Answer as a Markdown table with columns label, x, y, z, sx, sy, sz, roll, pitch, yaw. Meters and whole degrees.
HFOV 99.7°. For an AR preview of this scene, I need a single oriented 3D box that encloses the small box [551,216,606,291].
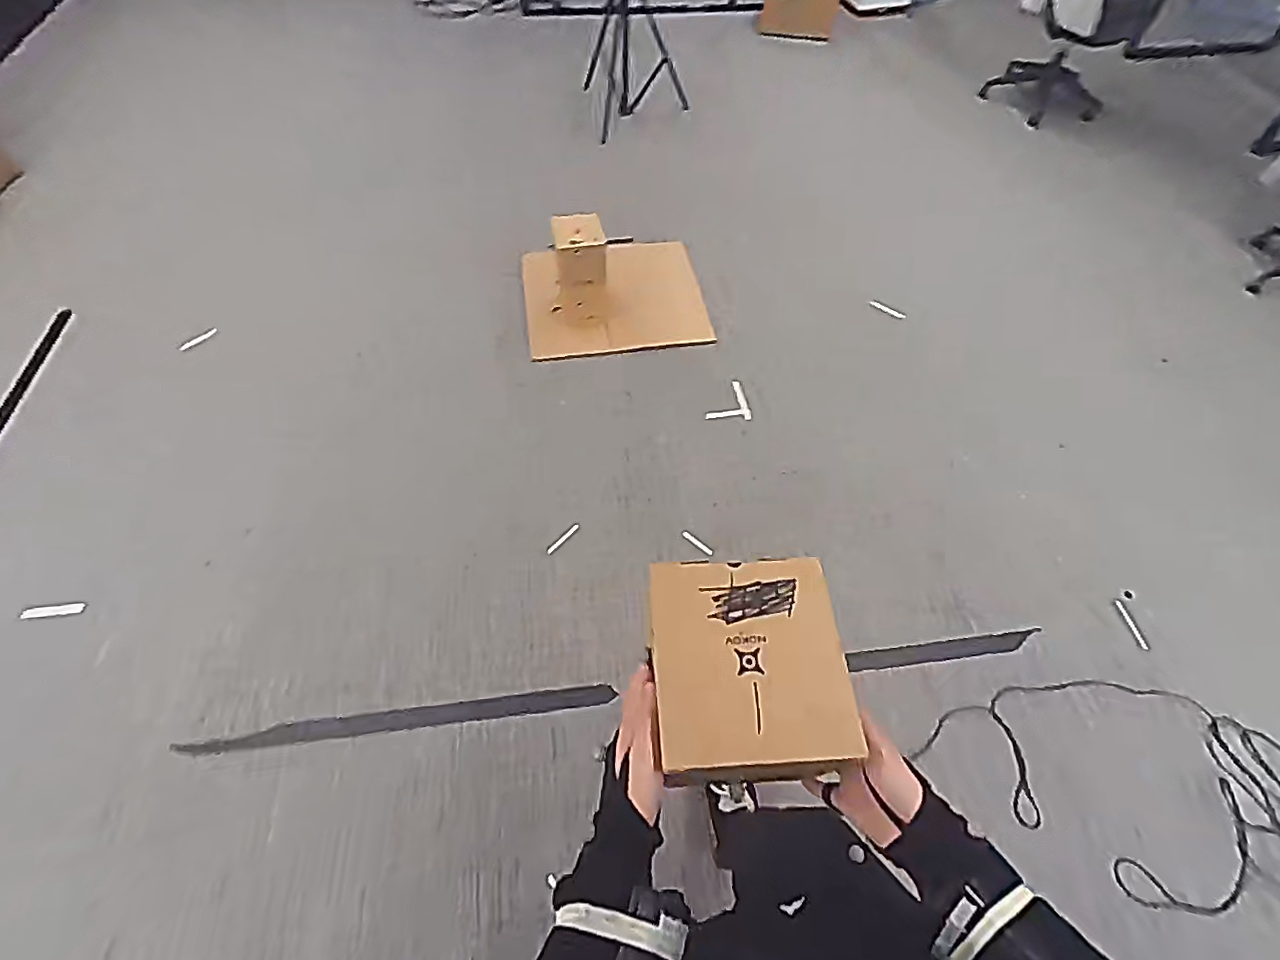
| label | x | y | z | sx | sy | sz | roll | pitch | yaw |
| --- | --- | --- | --- | --- | --- | --- | --- | --- | --- |
| small box | -0.214 | -0.790 | 1.890 | 0.168 | 0.176 | 0.179 | -11 | 59 | -8 |

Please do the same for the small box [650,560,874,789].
| label | x | y | z | sx | sy | sz | roll | pitch | yaw |
| --- | --- | --- | --- | --- | --- | --- | --- | --- | --- |
| small box | 0.097 | 0.194 | 0.530 | 0.168 | 0.176 | 0.179 | -1 | 57 | -2 |

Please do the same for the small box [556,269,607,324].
| label | x | y | z | sx | sy | sz | roll | pitch | yaw |
| --- | --- | --- | --- | --- | --- | --- | --- | --- | --- |
| small box | -0.218 | -0.702 | 2.028 | 0.168 | 0.176 | 0.179 | -9 | 59 | -8 |
